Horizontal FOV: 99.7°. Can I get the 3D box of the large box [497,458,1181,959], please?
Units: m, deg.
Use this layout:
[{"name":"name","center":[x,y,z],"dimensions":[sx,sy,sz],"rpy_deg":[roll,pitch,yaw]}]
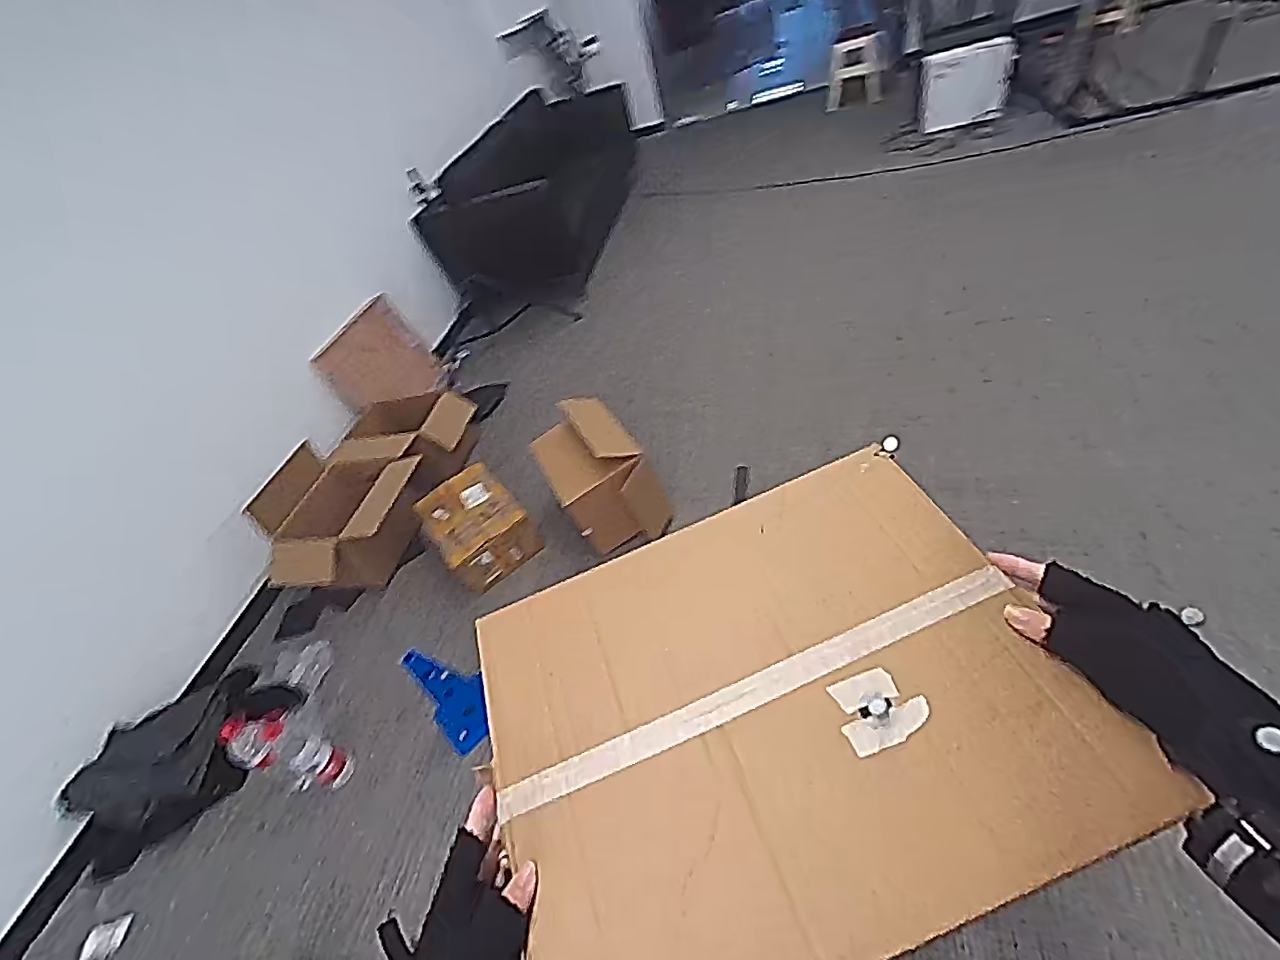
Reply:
[{"name":"large box","center":[0.129,0.252,0.522],"dimensions":[0.408,0.320,0.320],"rpy_deg":[-23,50,-2]}]
